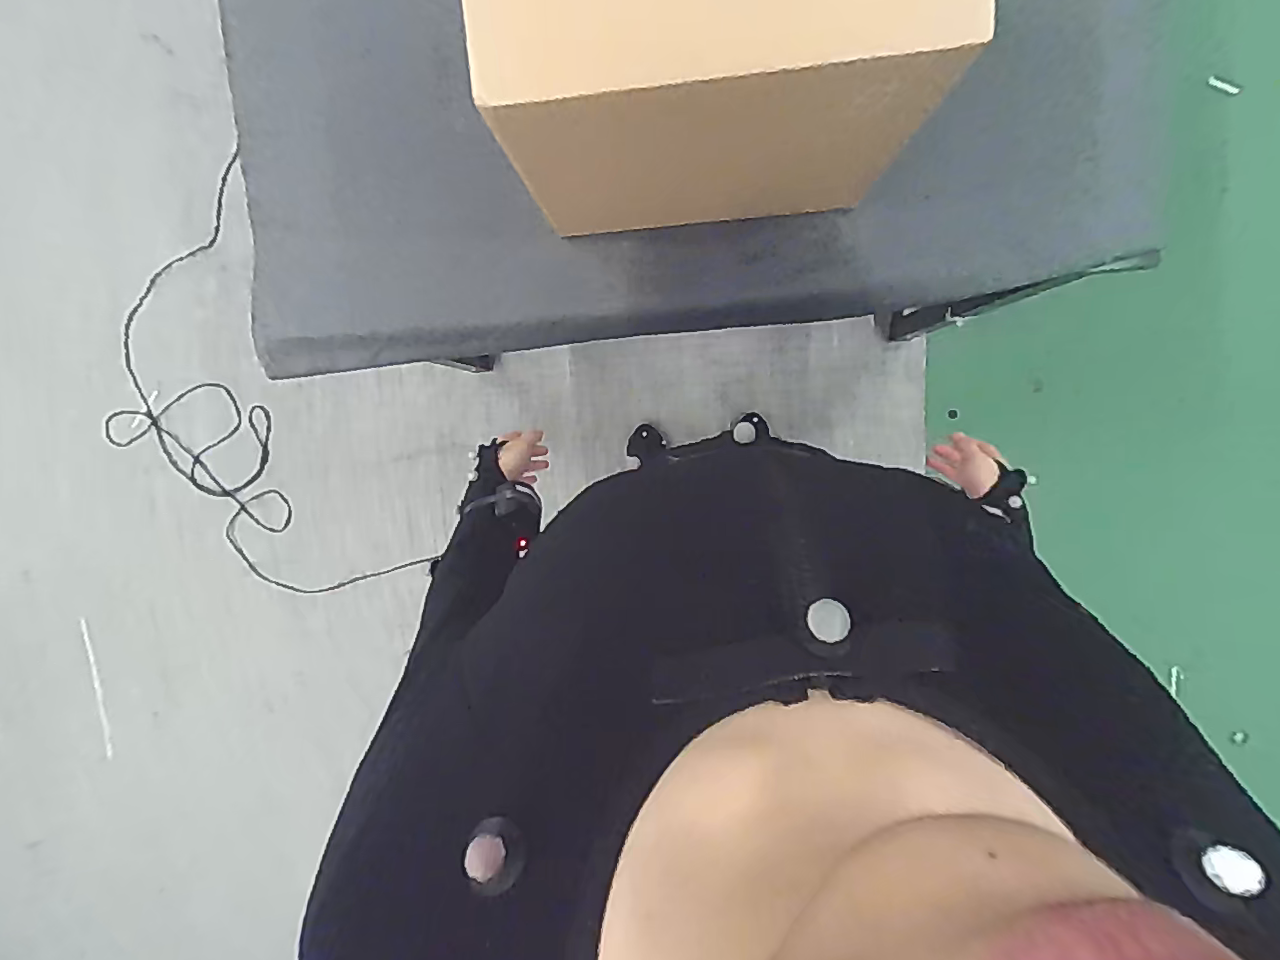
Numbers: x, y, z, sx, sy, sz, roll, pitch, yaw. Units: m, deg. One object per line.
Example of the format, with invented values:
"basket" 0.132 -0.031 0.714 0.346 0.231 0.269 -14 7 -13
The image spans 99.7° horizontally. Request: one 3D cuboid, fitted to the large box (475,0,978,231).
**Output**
"large box" 0.062 -0.492 0.570 0.408 0.320 0.320 -4 96 4
